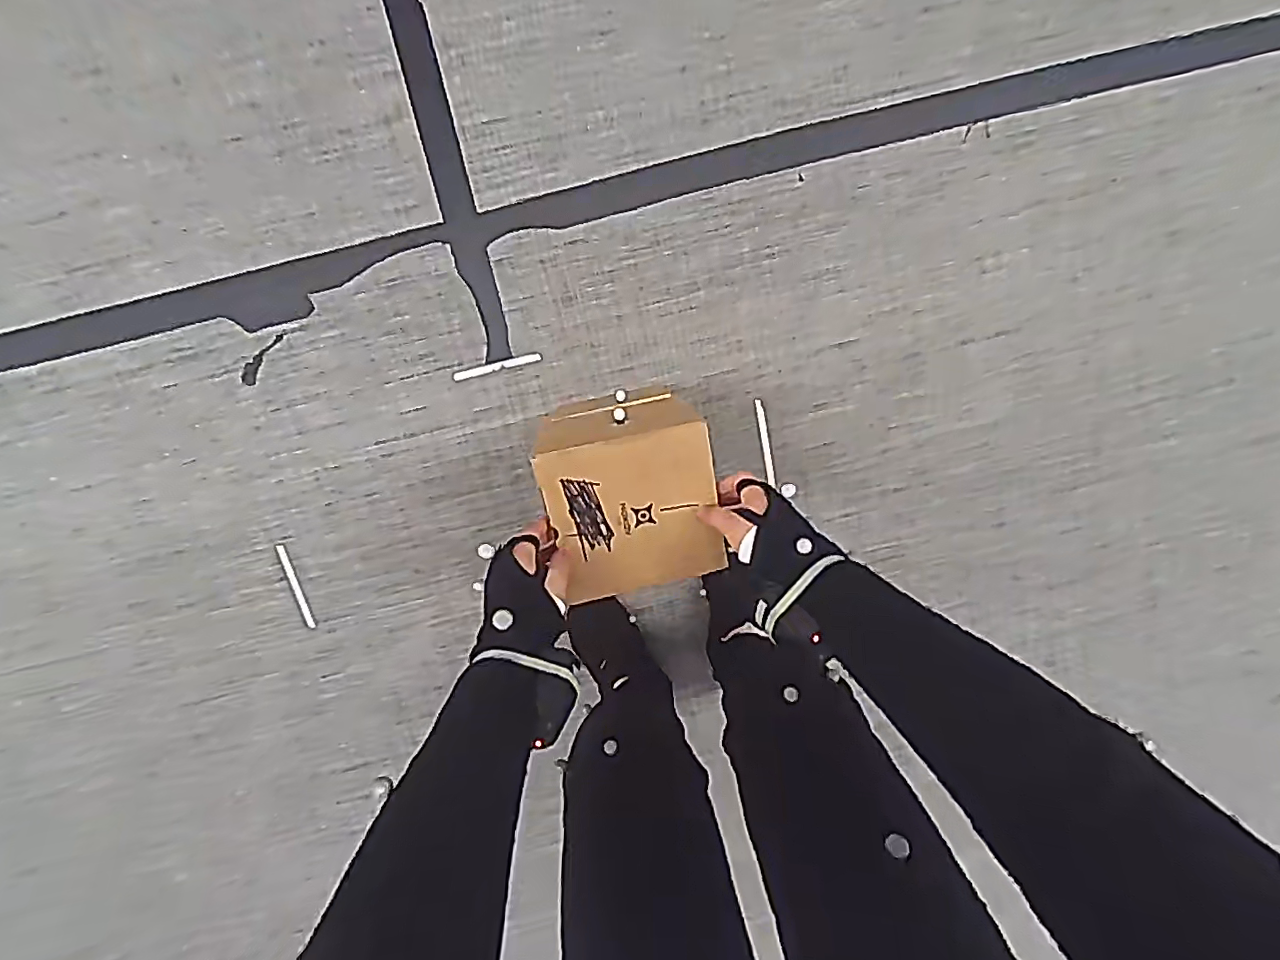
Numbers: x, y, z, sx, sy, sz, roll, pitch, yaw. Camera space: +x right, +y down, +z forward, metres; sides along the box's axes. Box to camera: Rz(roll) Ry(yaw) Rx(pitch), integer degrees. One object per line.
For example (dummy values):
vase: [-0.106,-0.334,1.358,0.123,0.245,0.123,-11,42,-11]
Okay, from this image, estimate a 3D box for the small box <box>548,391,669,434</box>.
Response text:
small box: [-0.028,-0.024,0.789,0.168,0.176,0.179,-12,105,-1]

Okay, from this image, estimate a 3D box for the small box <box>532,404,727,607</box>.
small box: [-0.015,0.018,0.622,0.179,0.176,0.168,-13,108,-4]
